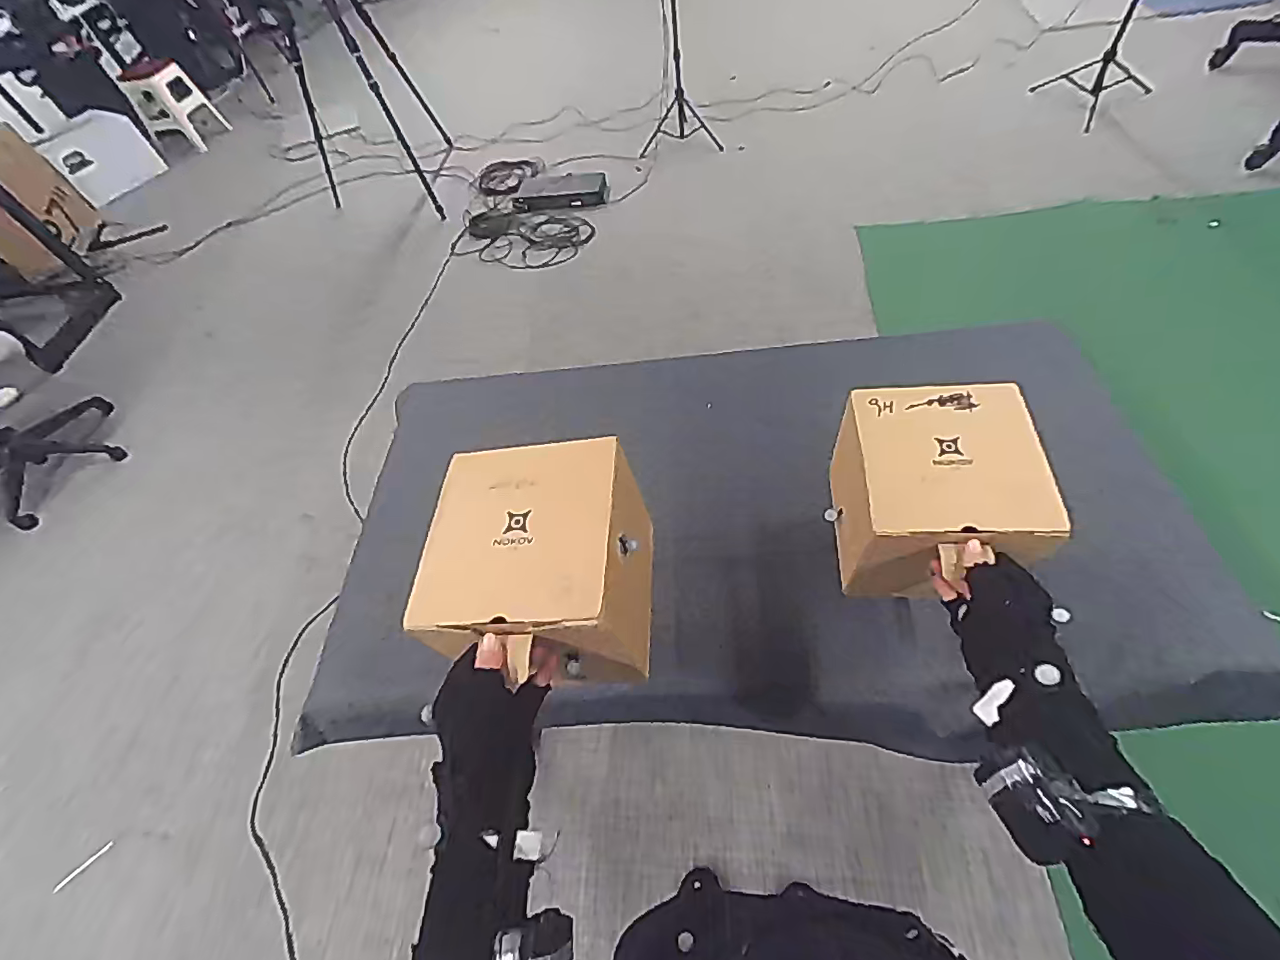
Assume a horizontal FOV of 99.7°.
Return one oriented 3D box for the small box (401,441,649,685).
[{"bbox_3d":[-0.087,0.088,0.514,0.168,0.176,0.179,-5,53,10],"label":"small box"}]
